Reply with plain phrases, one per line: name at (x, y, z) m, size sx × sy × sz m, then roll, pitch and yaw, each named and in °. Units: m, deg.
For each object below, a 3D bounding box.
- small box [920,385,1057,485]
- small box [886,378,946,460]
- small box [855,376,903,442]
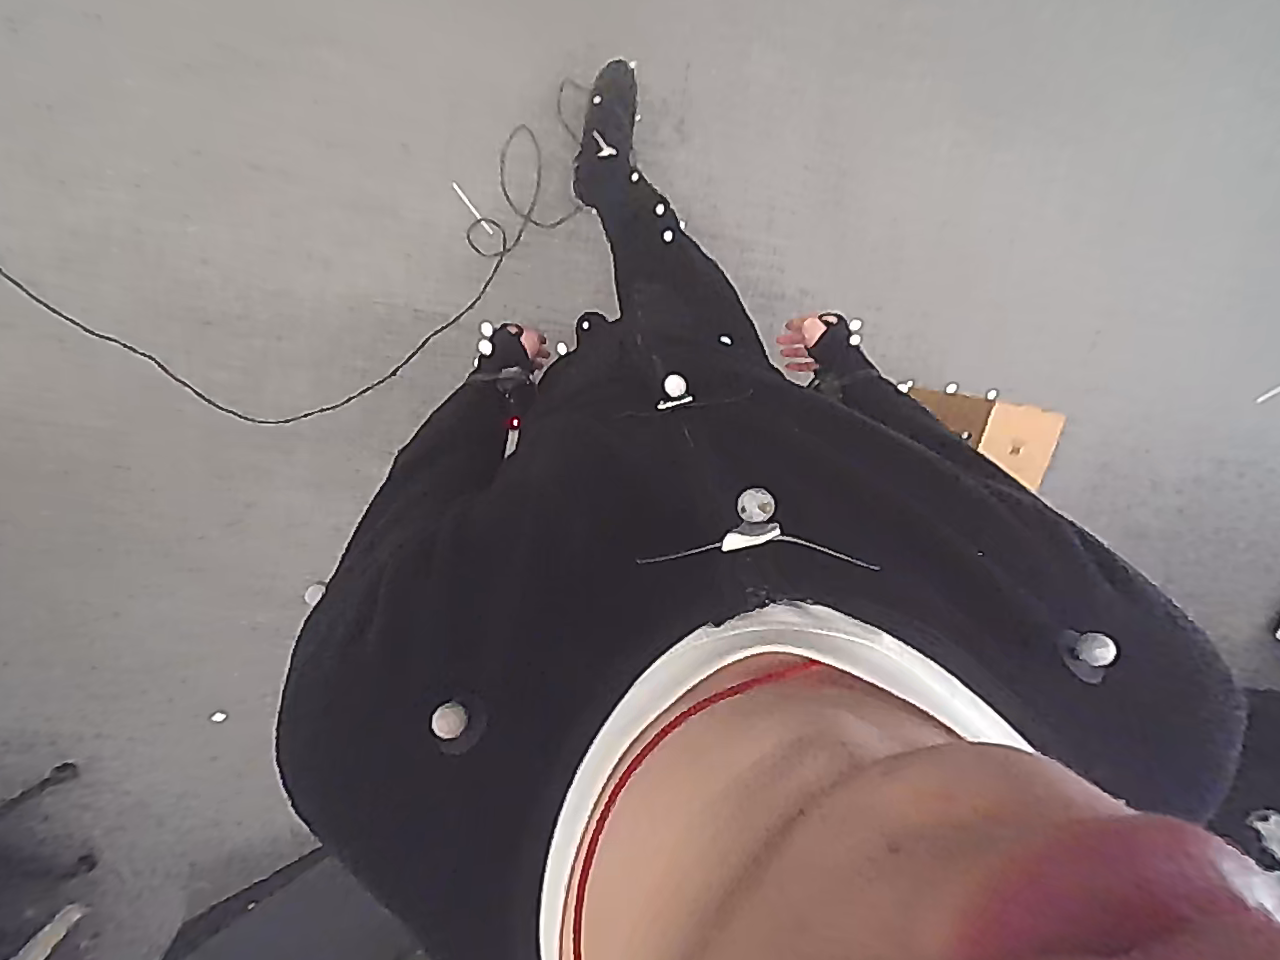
small box at (0.762, -0.107, 1.206) m, size 0.168 × 0.176 × 0.179 m, roll 9°, pitch 108°, yaw -7°
small box at (0.752, -0.150, 1.361) m, size 0.168 × 0.176 × 0.179 m, roll 8°, pitch 106°, yaw -8°
small box at (0.737, -0.193, 1.520) m, size 0.179 × 0.176 × 0.168 m, roll 9°, pitch 107°, yaw -8°
